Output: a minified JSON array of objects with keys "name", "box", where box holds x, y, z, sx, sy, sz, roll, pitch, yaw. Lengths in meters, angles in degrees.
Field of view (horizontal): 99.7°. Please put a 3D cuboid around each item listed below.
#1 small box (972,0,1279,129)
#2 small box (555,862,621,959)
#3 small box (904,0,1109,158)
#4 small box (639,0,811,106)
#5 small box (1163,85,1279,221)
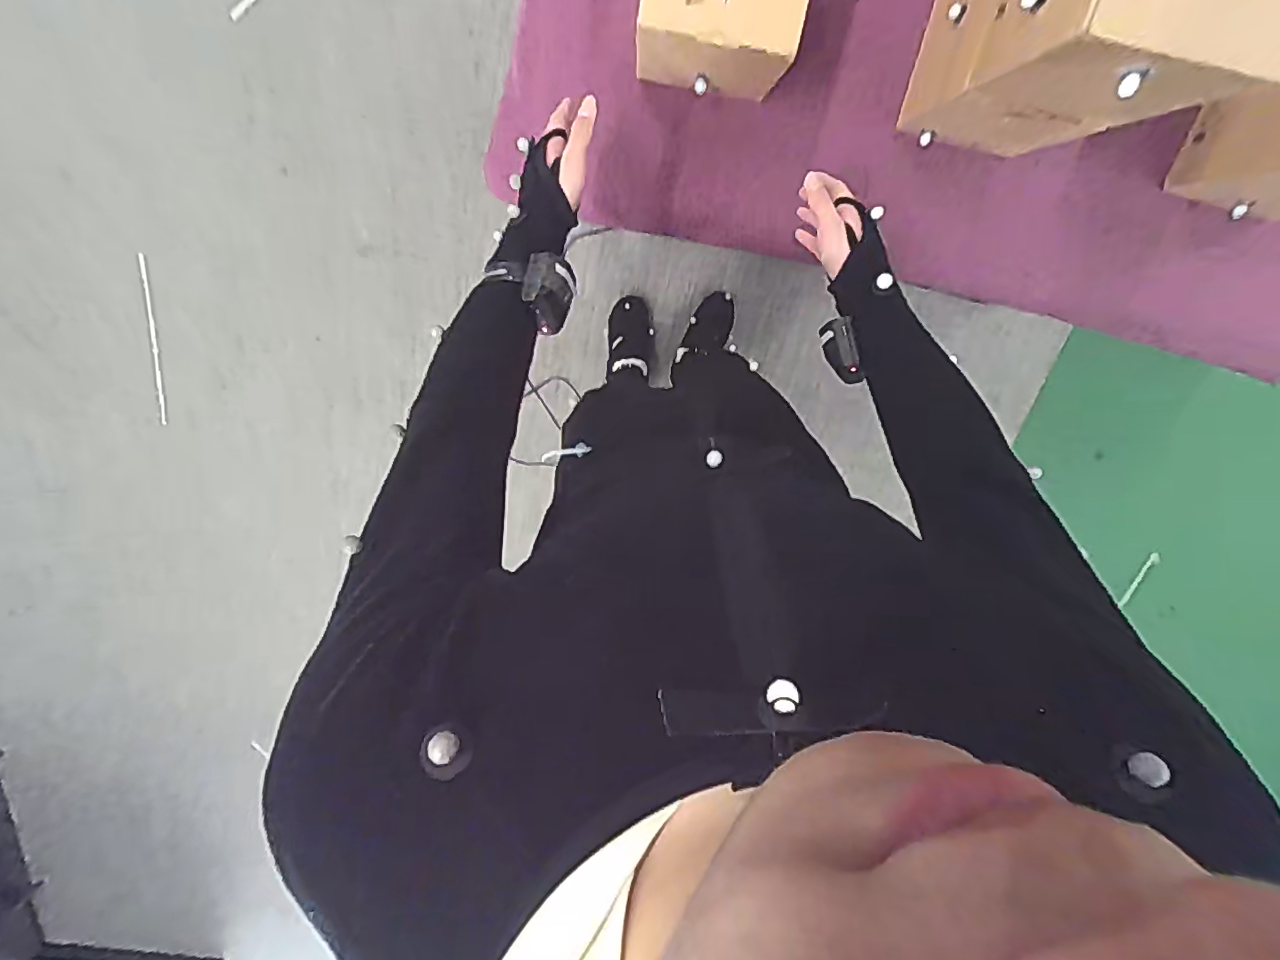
[{"name":"small box","box":[0.434,-0.426,0.464,0.179,0.176,0.168,9,112,-6]},{"name":"small box","box":[-0.154,1.329,1.667,0.168,0.176,0.179,14,110,-6]},{"name":"small box","box":[0.433,-0.489,0.614,0.168,0.176,0.179,9,111,-5]},{"name":"small box","box":[0.092,-0.542,0.585,0.168,0.176,0.179,8,112,-4]},{"name":"small box","box":[0.816,-0.419,0.649,0.179,0.176,0.168,11,111,-5]}]
